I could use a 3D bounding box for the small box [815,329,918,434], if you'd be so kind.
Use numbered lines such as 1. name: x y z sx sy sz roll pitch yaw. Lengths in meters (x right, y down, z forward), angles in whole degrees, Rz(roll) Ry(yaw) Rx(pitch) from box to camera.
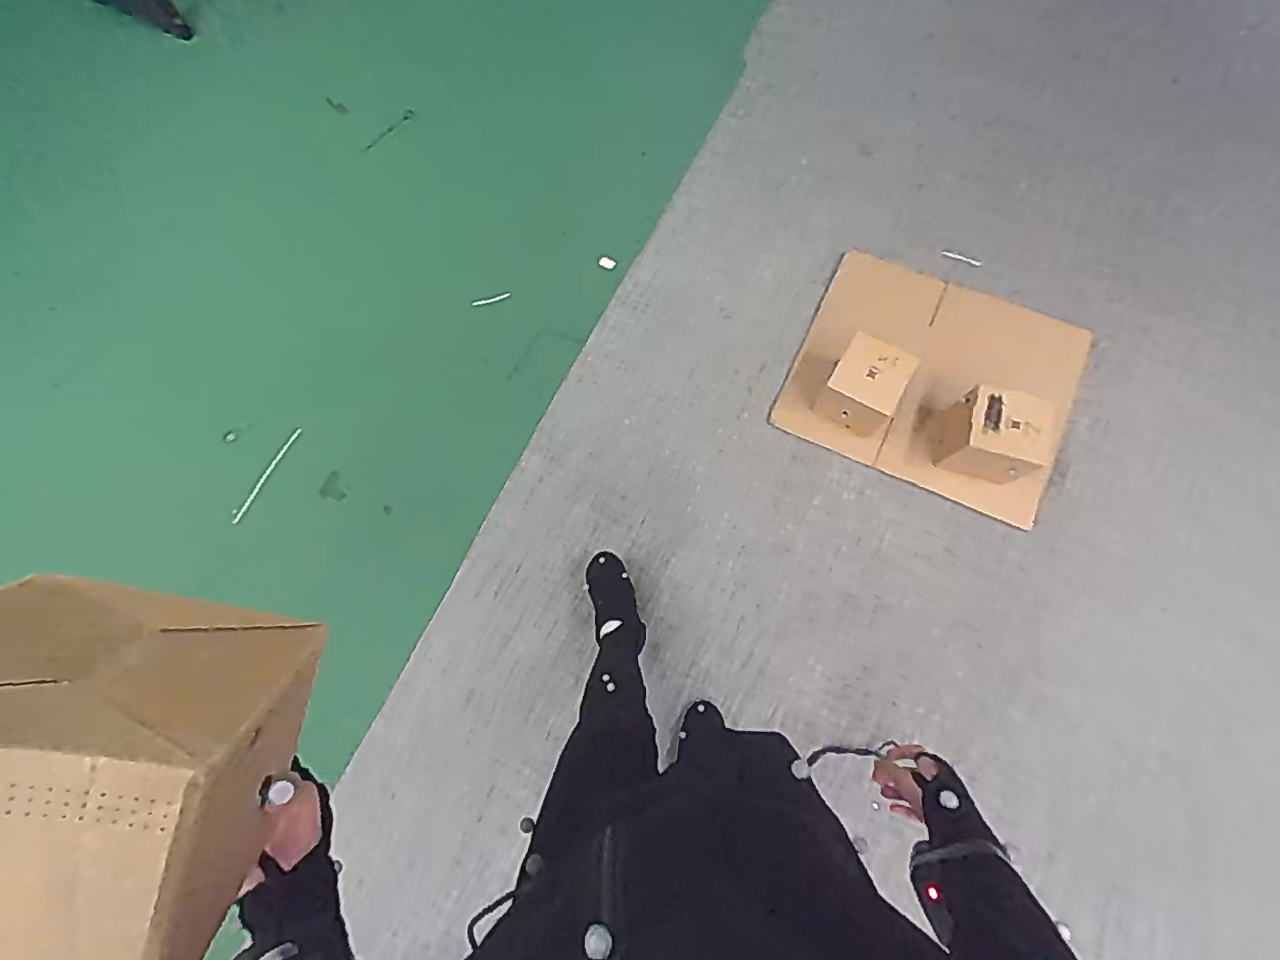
1. small box: 0.567 -0.244 1.384 0.168 0.176 0.179 30 79 11

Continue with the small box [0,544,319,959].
1. small box: -0.310 0.153 0.308 0.179 0.168 0.176 17 94 -15
